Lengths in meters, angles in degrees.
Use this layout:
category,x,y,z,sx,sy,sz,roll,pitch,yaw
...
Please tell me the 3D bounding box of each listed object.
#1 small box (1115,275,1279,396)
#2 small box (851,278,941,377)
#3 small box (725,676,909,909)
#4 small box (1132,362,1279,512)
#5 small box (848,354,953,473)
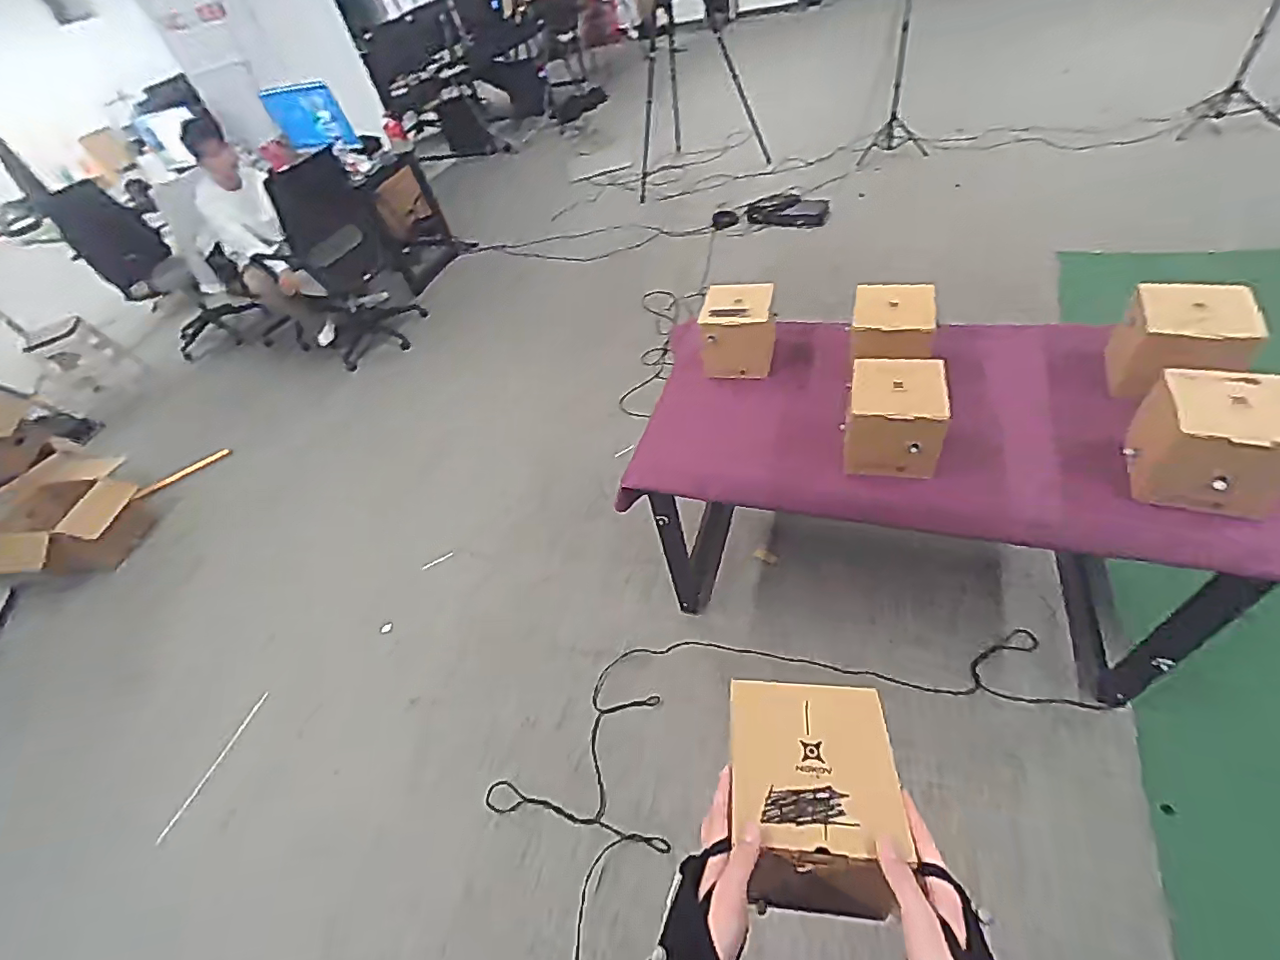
category,x,y,z,sx,sy,sz,roll,pitch,yaw
small box,1.065,-0.277,1.055,0.168,0.176,0.179,11,54,25
small box,0.586,-0.344,1.250,0.168,0.176,0.179,7,53,20
small box,0.179,0.347,0.604,0.168,0.176,0.179,0,38,9
small box,0.964,-0.071,0.900,0.168,0.176,0.179,12,53,25
small box,0.513,-0.133,1.082,0.168,0.176,0.179,5,50,19
